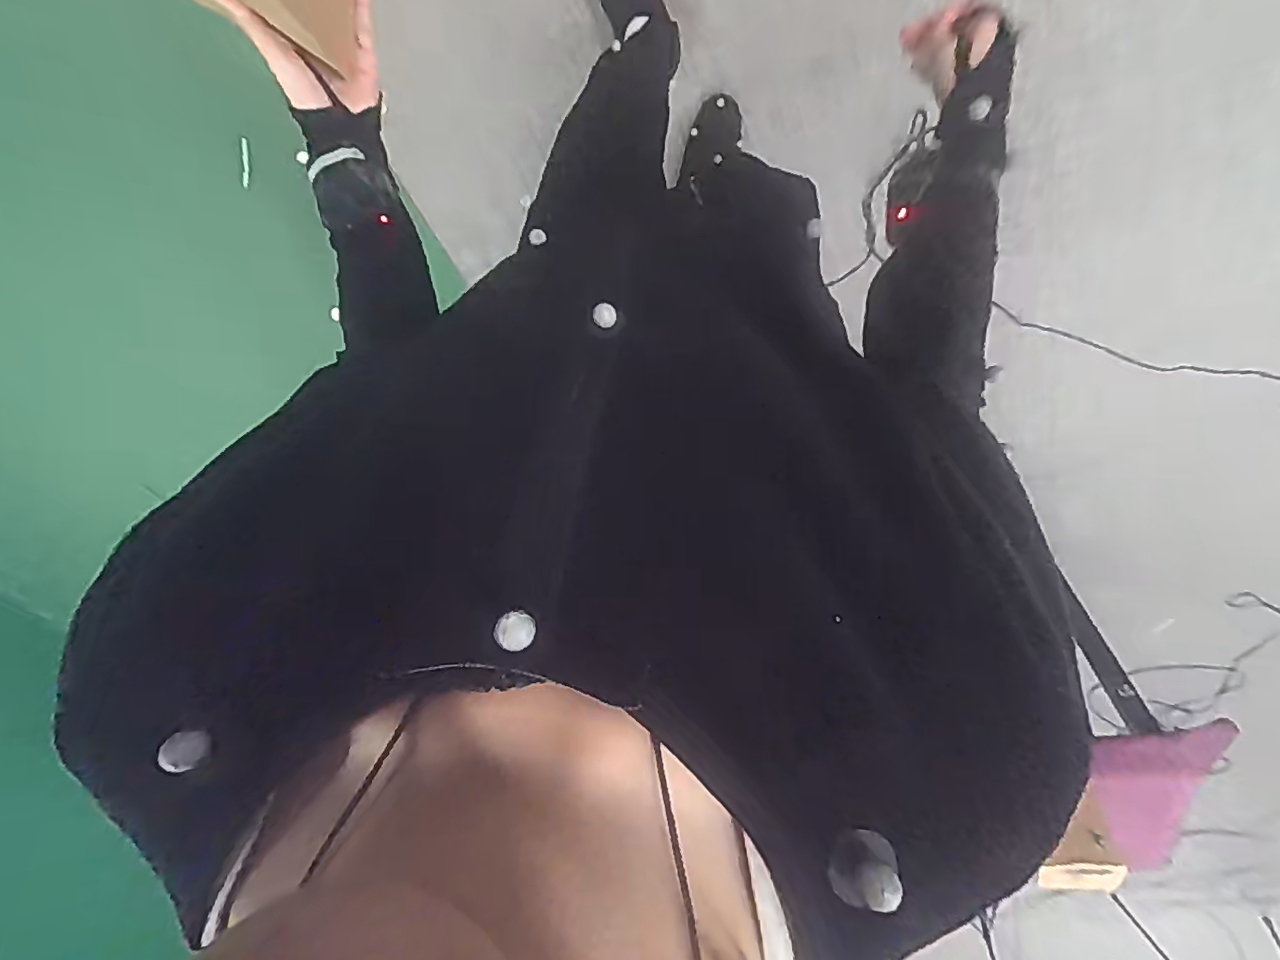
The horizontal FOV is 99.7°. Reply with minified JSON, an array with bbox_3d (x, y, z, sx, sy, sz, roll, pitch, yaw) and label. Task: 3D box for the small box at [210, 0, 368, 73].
[{"bbox_3d":[-0.280,-0.444,0.364,0.179,0.168,0.176,25,97,-8],"label":"small box"}]
